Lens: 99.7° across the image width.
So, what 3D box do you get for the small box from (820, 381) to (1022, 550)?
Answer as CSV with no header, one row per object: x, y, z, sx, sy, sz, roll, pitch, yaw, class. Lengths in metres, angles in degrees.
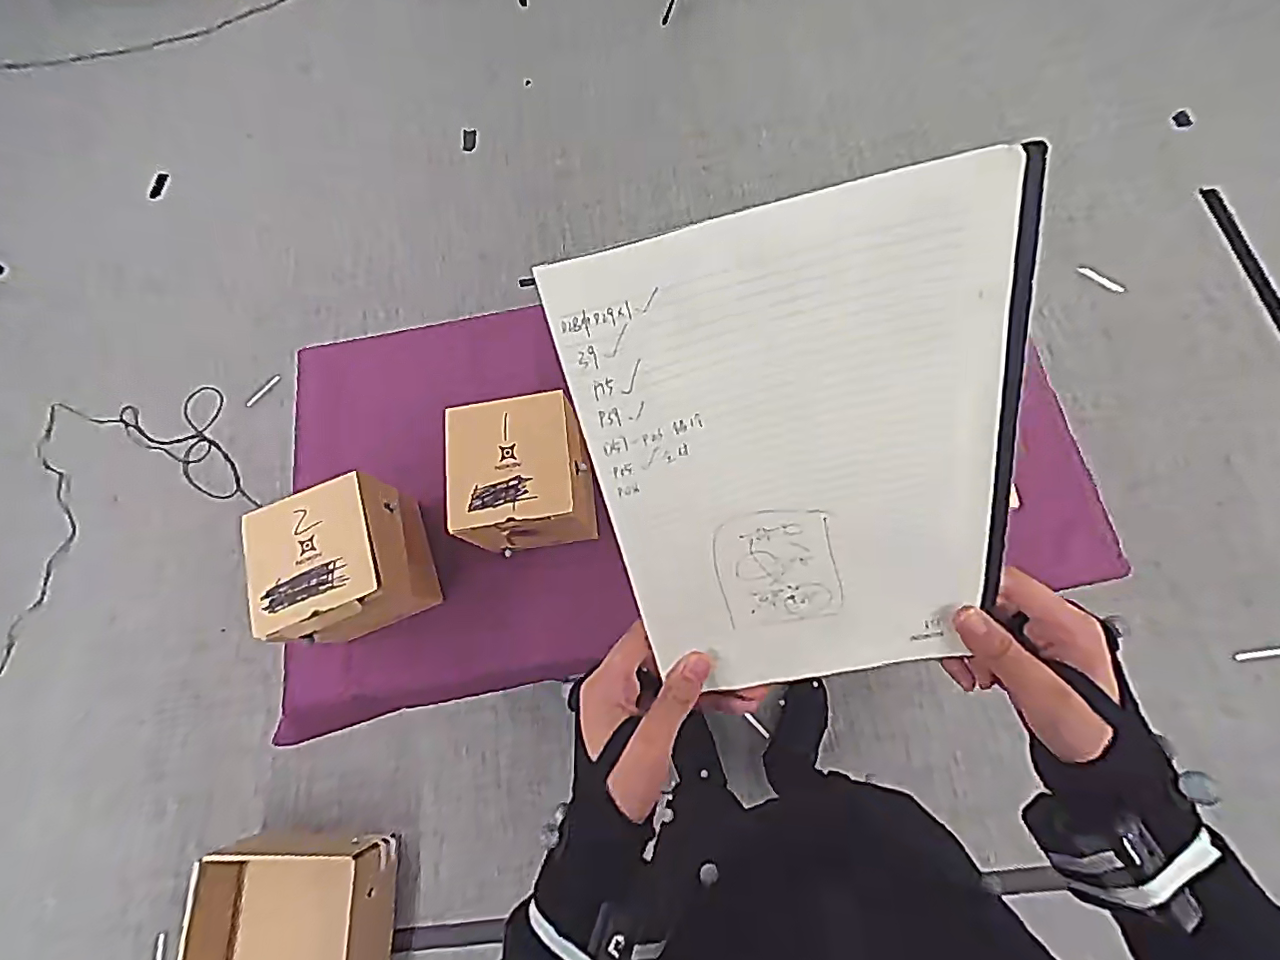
0.348,-0.009,0.714,0.179,0.176,0.168,-8,73,4,small box

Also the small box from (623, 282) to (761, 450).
0.075,-0.154,0.793,0.168,0.176,0.179,-9,72,3,small box

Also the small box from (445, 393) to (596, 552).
-0.163,0.001,0.771,0.168,0.176,0.179,-9,72,4,small box
